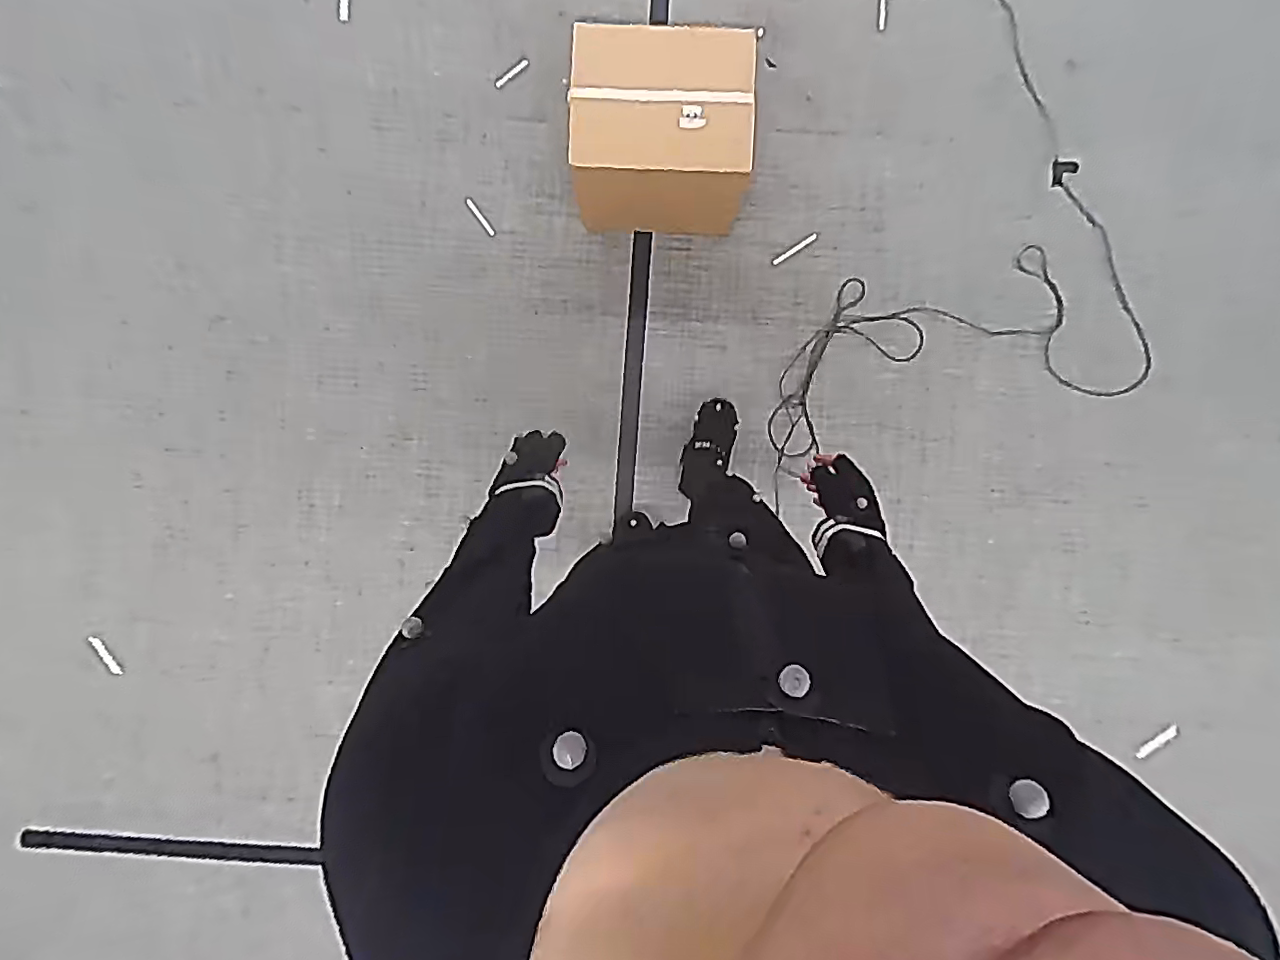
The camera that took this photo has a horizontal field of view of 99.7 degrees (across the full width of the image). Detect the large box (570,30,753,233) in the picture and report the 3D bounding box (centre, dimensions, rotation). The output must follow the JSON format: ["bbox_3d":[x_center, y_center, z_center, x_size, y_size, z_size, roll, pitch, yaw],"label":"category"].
[{"bbox_3d":[0.044,-0.830,1.334,0.408,0.320,0.320,2,91,-1],"label":"large box"}]
